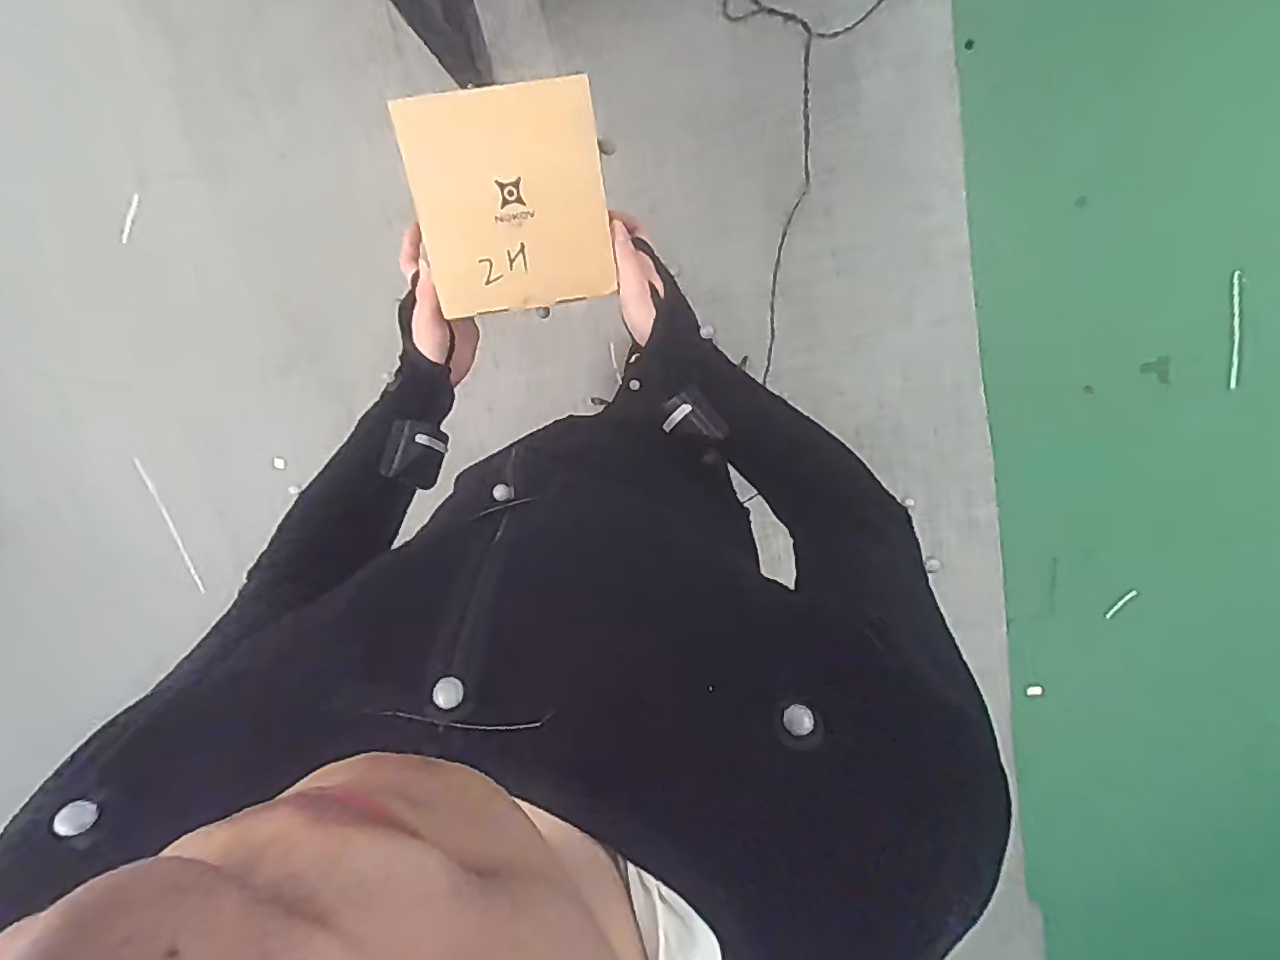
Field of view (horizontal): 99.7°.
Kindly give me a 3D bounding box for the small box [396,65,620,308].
[{"bbox_3d":[-0.115,-0.274,0.540,0.168,0.176,0.179,-8,112,-1],"label":"small box"}]
